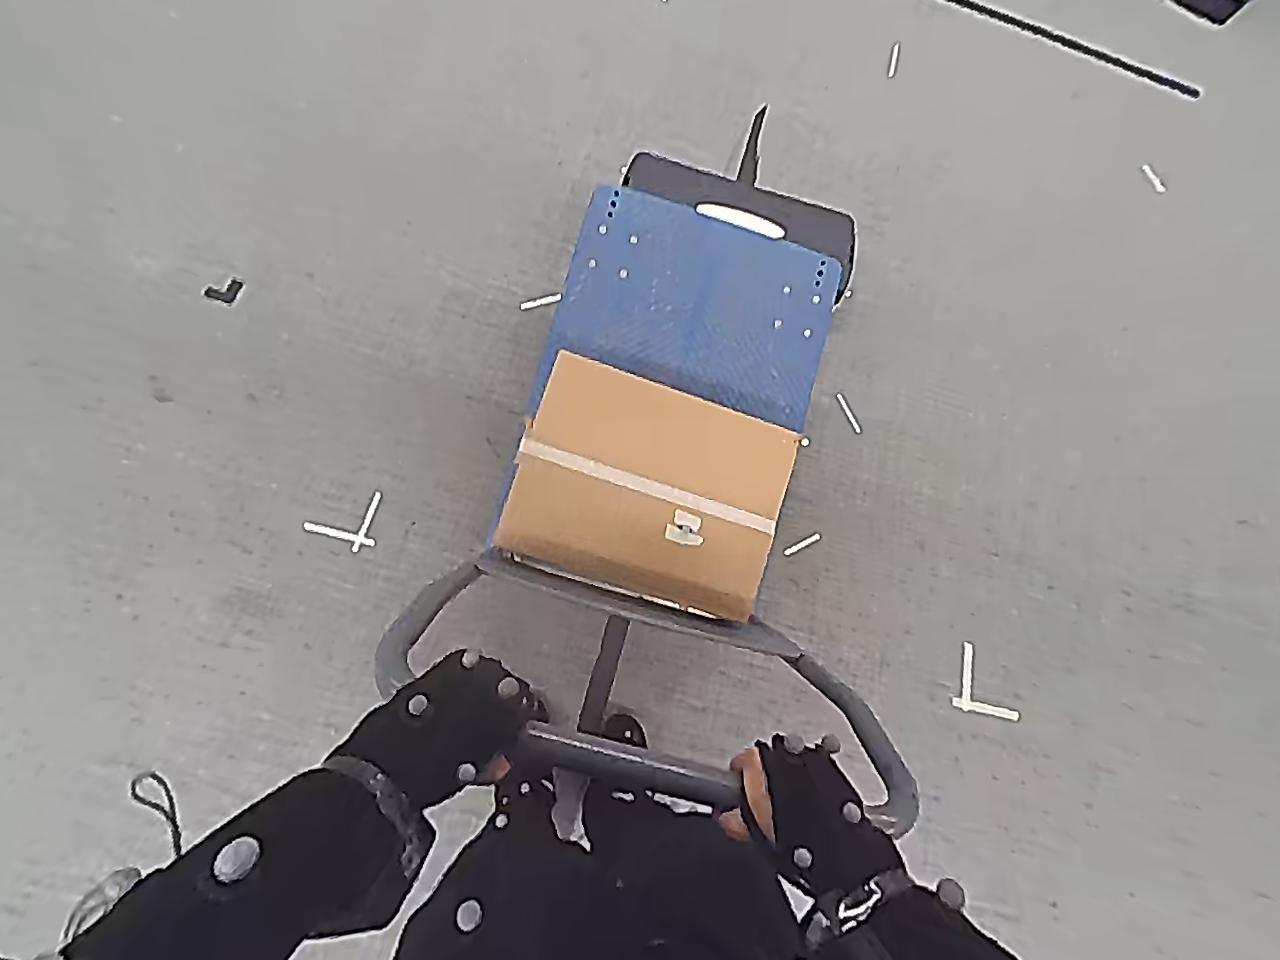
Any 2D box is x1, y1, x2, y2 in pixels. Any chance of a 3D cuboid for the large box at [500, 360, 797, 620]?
[{"bbox_3d":[0.002,0.028,0.977,0.408,0.320,0.320,18,84,-5],"label":"large box"}]
